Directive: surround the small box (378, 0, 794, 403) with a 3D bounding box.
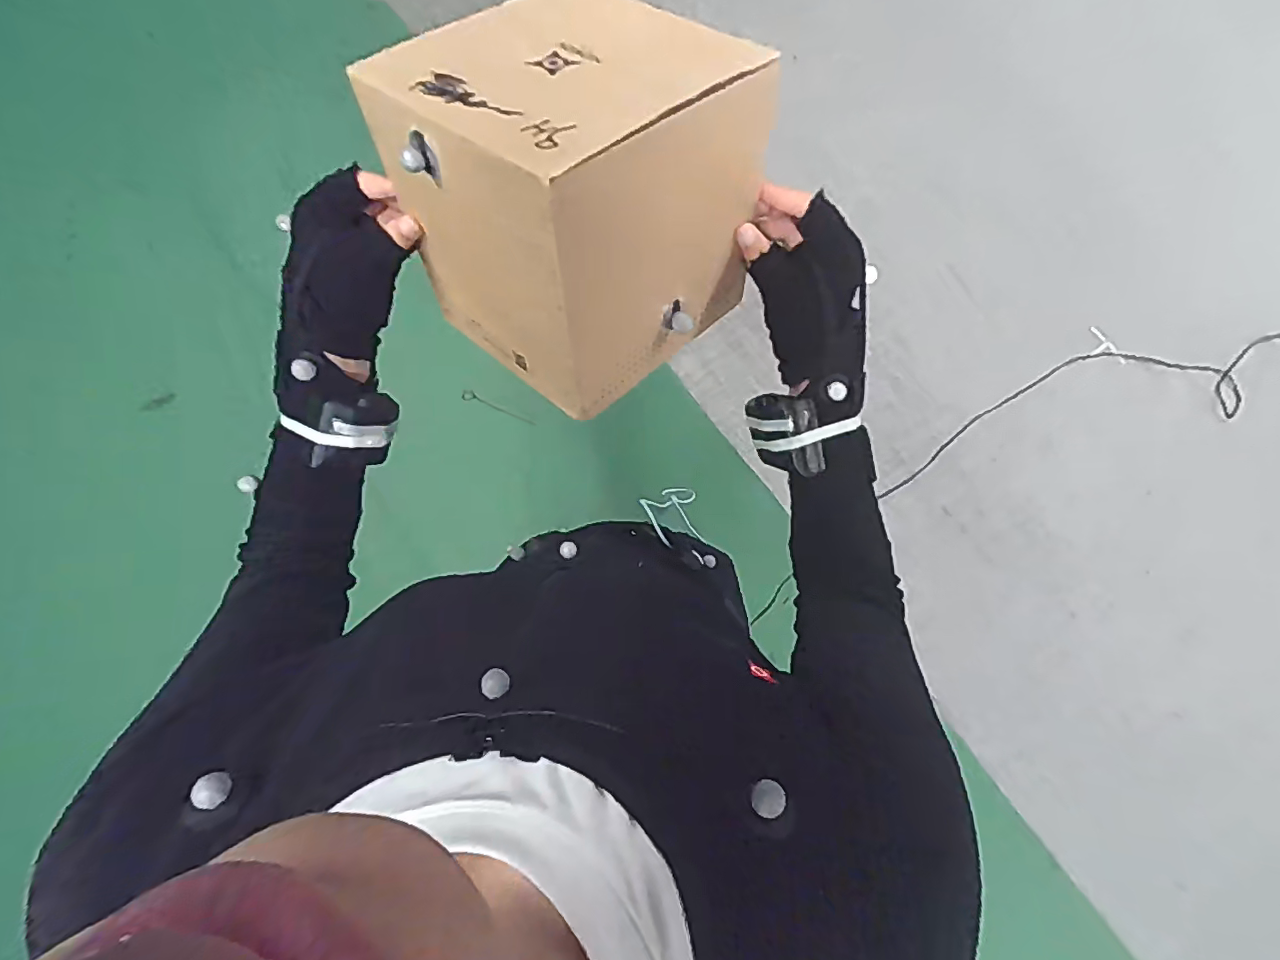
[{"bbox_3d":[-0.030,-0.189,0.366,0.168,0.176,0.179,39,65,23],"label":"small box"}]
